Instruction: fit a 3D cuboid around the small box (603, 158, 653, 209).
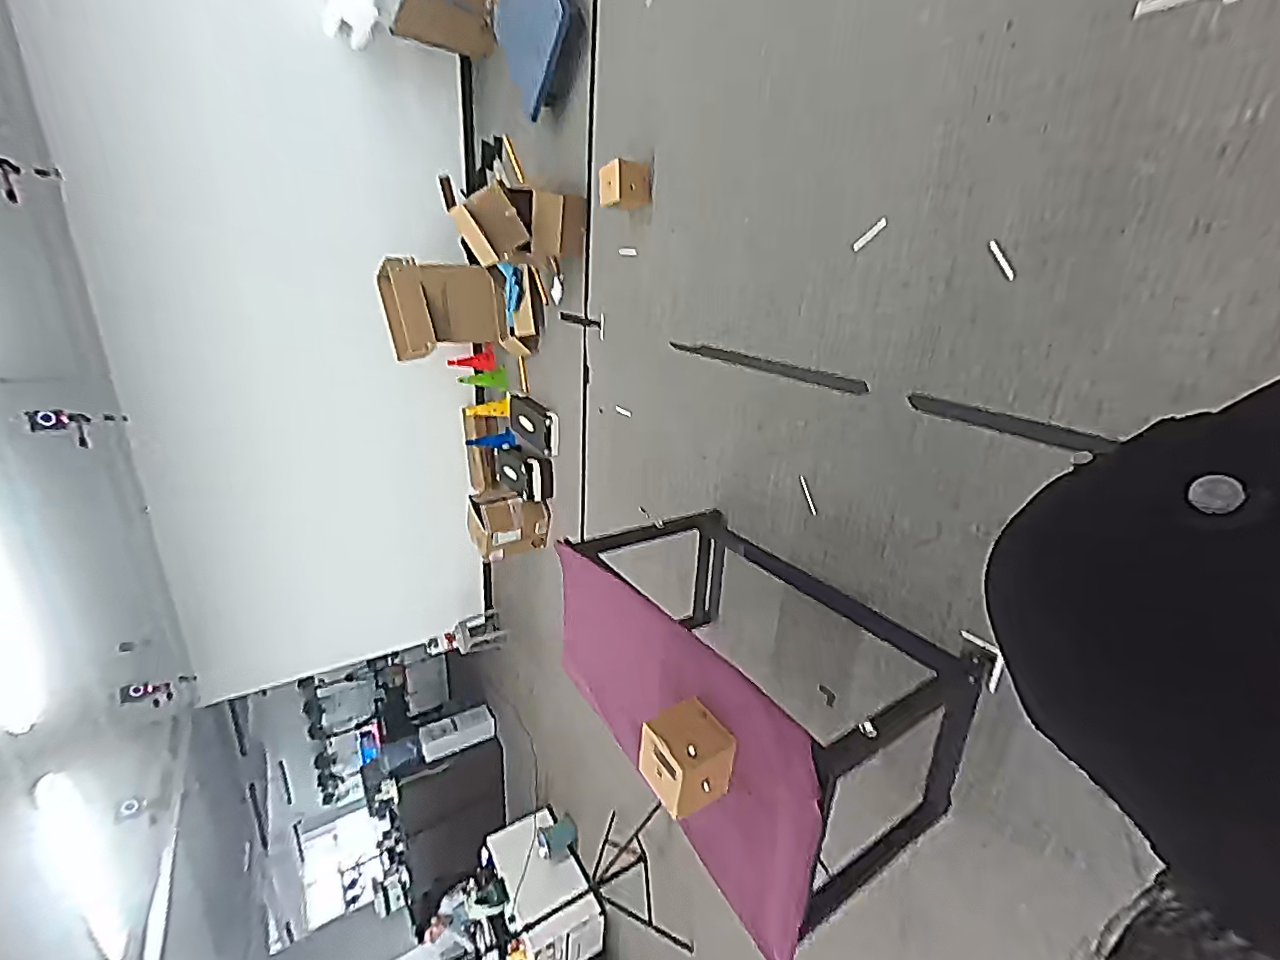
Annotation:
[{"bbox_3d":[-0.053,-1.353,2.477,0.179,0.176,0.168,21,116,55],"label":"small box"}]
